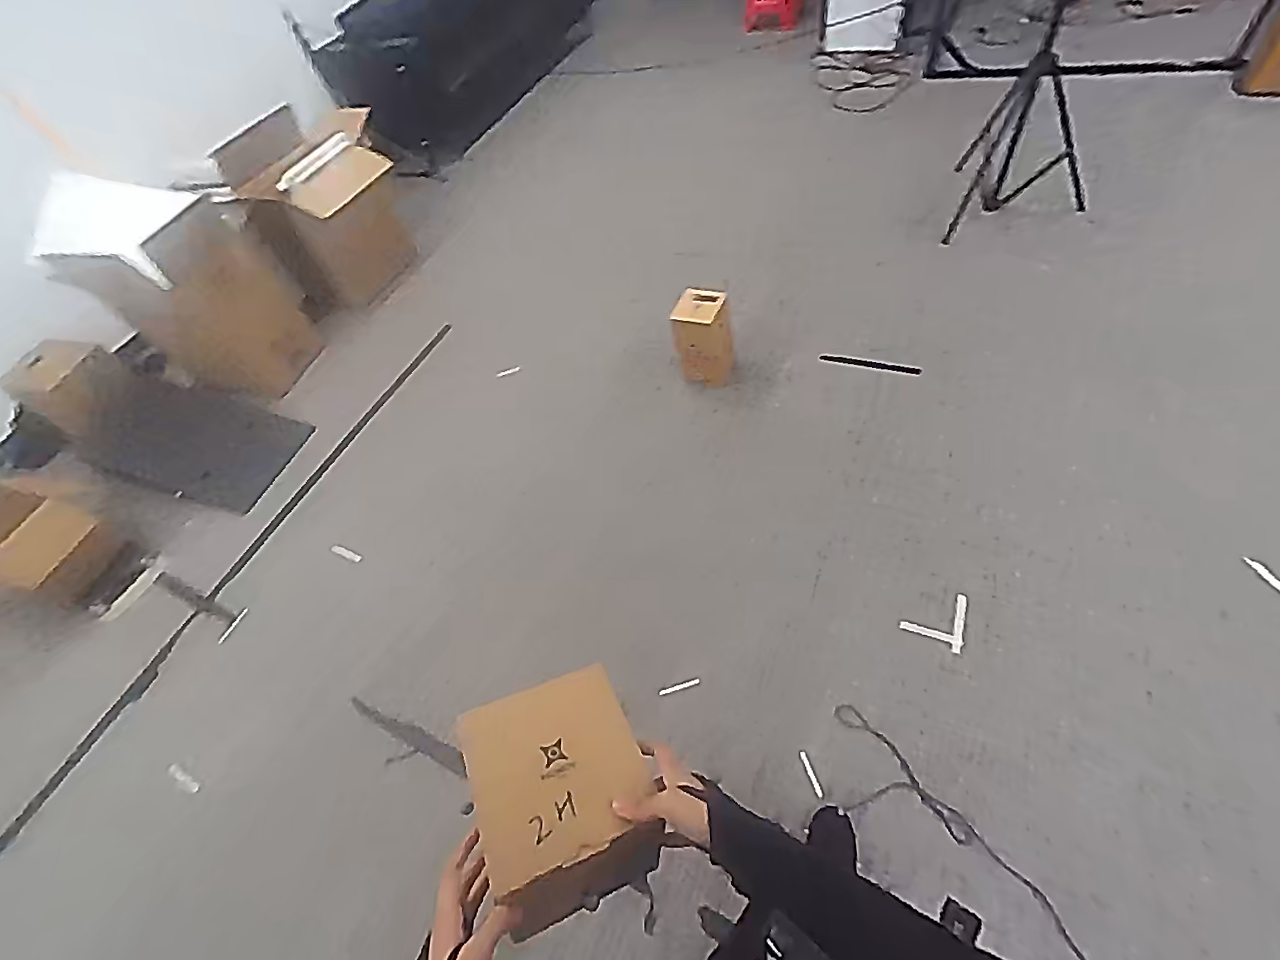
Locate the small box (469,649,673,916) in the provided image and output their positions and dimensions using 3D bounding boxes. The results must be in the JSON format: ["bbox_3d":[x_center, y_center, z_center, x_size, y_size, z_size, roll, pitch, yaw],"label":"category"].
[{"bbox_3d":[-0.079,0.325,0.592,0.168,0.176,0.179,-15,43,-19],"label":"small box"}]

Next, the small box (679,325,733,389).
[{"bbox_3d":[0.272,-0.494,2.174,0.168,0.176,0.179,13,59,23],"label":"small box"}]
